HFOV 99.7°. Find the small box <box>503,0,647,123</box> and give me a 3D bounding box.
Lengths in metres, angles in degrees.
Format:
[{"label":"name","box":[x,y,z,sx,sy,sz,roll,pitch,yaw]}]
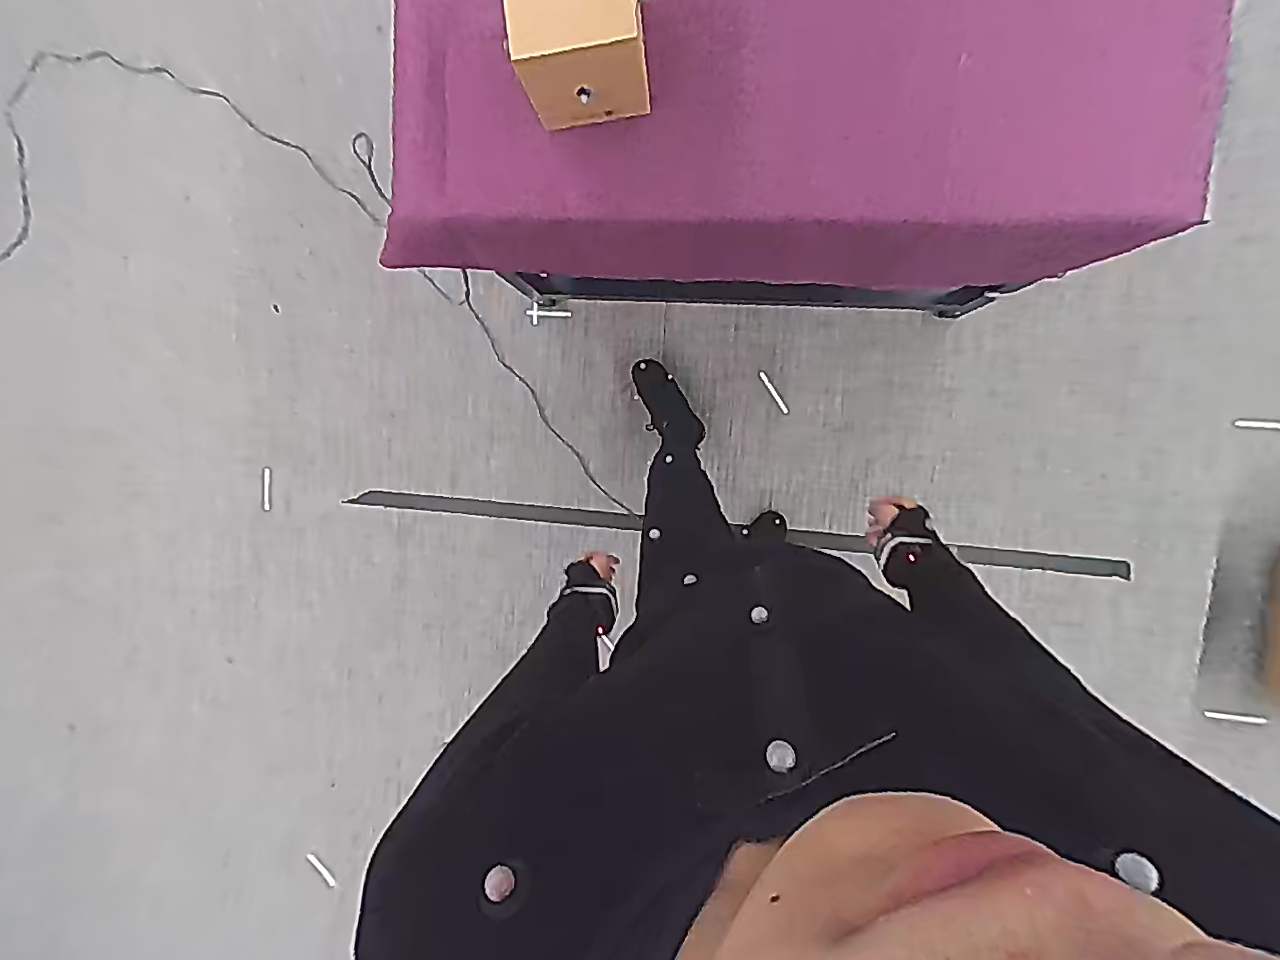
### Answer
[{"label":"small box","box":[-0.084,-0.628,0.748,0.168,0.176,0.179,-5,94,6]}]
